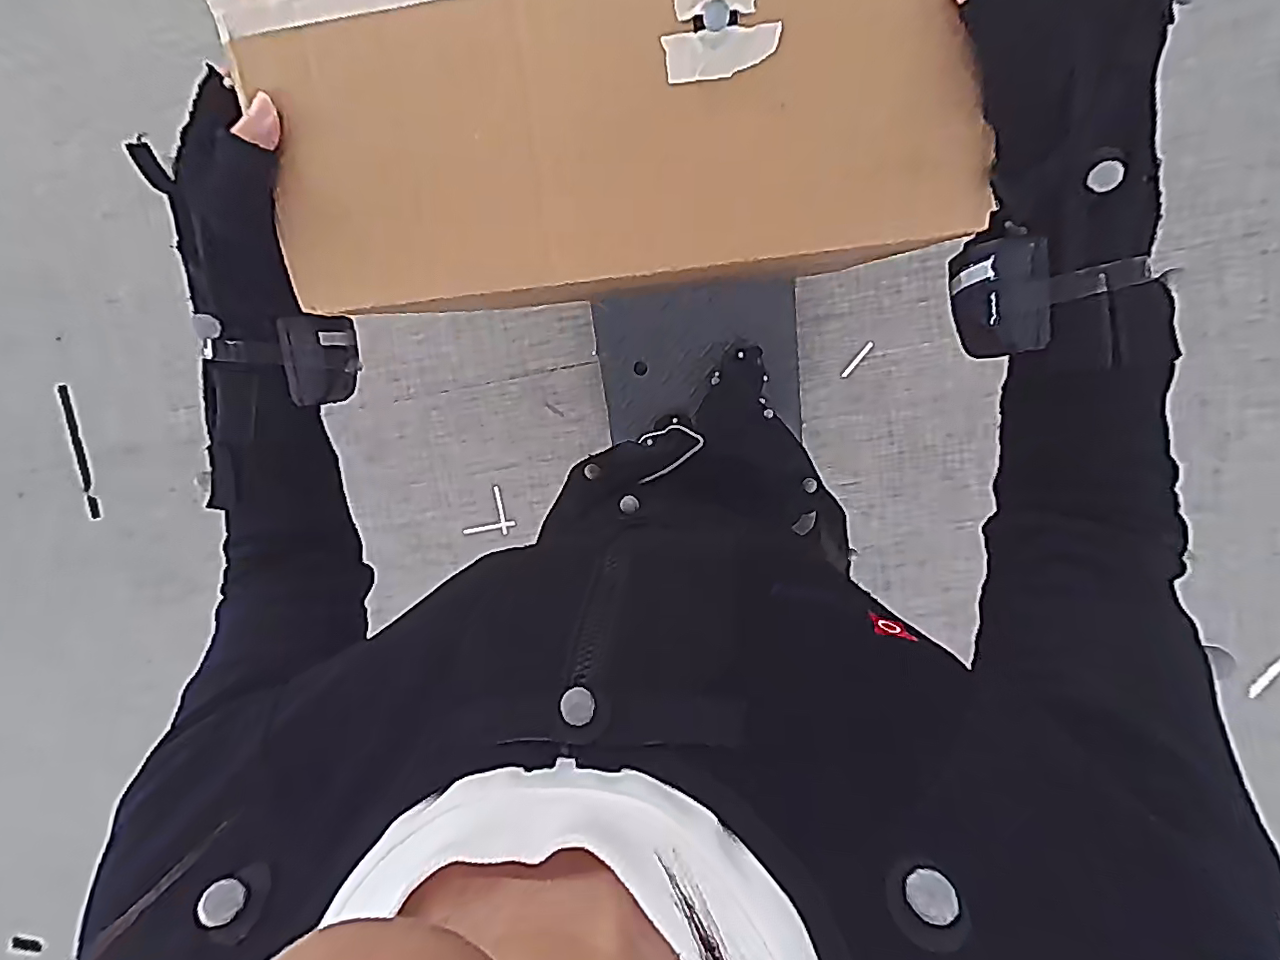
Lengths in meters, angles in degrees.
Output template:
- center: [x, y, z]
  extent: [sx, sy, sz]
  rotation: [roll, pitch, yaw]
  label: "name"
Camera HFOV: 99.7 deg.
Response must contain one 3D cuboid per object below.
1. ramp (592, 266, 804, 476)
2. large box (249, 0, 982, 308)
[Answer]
- center: [0.120, -0.507, 1.285]
  extent: [0.509, 0.206, 0.991]
  rotation: [-8, 98, 6]
  label: "ramp"
- center: [-0.014, -0.322, 0.427]
  extent: [0.408, 0.320, 0.320]
  rotation: [-5, 108, 7]
  label: "large box"
